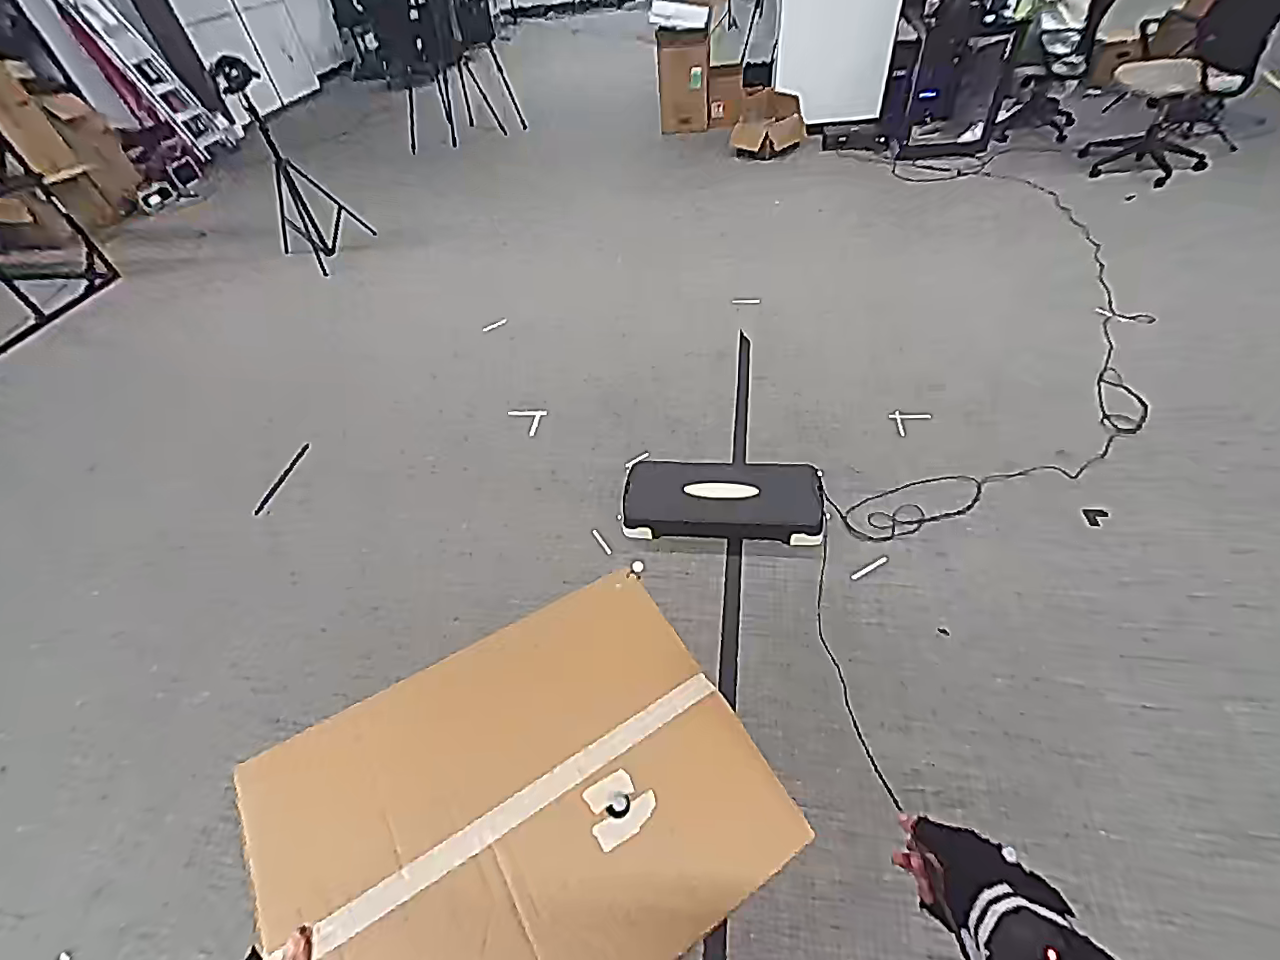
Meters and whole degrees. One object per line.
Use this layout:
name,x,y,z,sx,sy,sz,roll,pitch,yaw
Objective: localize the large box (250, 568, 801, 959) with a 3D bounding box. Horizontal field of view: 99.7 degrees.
large box,-0.111,0.374,0.594,0.408,0.320,0.320,-24,58,-24
